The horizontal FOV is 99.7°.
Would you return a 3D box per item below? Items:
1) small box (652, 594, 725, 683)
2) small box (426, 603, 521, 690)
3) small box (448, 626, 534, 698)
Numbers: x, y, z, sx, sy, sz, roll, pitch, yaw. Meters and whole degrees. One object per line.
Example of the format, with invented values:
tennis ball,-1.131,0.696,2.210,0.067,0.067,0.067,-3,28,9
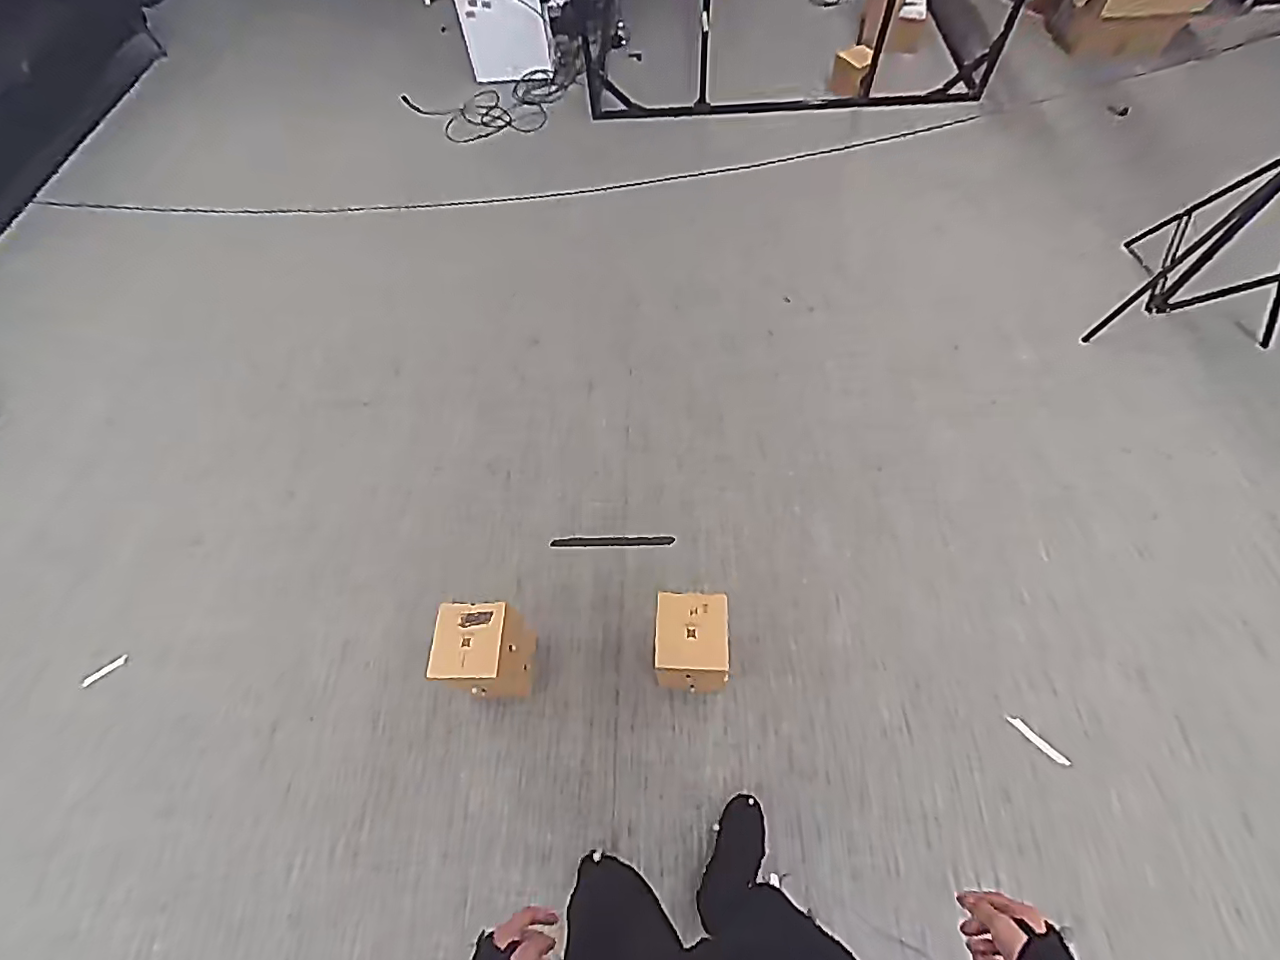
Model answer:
small box,0.119,0.388,1.309,0.168,0.176,0.179,2,61,4
small box,-0.399,0.412,1.330,0.168,0.176,0.179,-1,62,4
small box,-0.394,0.495,1.472,0.179,0.176,0.168,-2,61,4
